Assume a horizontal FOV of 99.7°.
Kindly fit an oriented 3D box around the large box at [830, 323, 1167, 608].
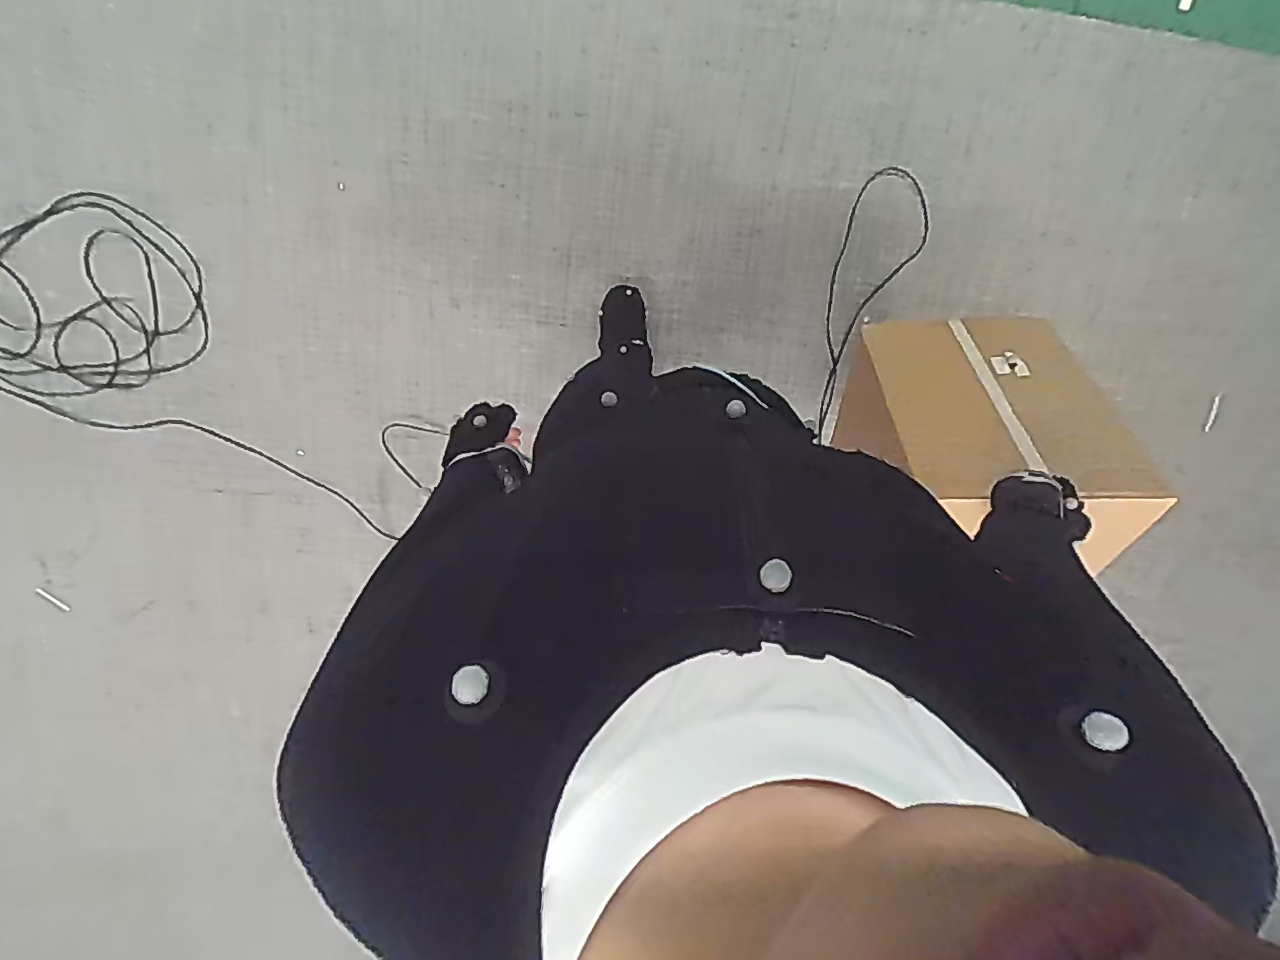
[{"bbox_3d":[0.547,-0.026,0.944,0.320,0.408,0.320,0,137,5],"label":"large box"}]
